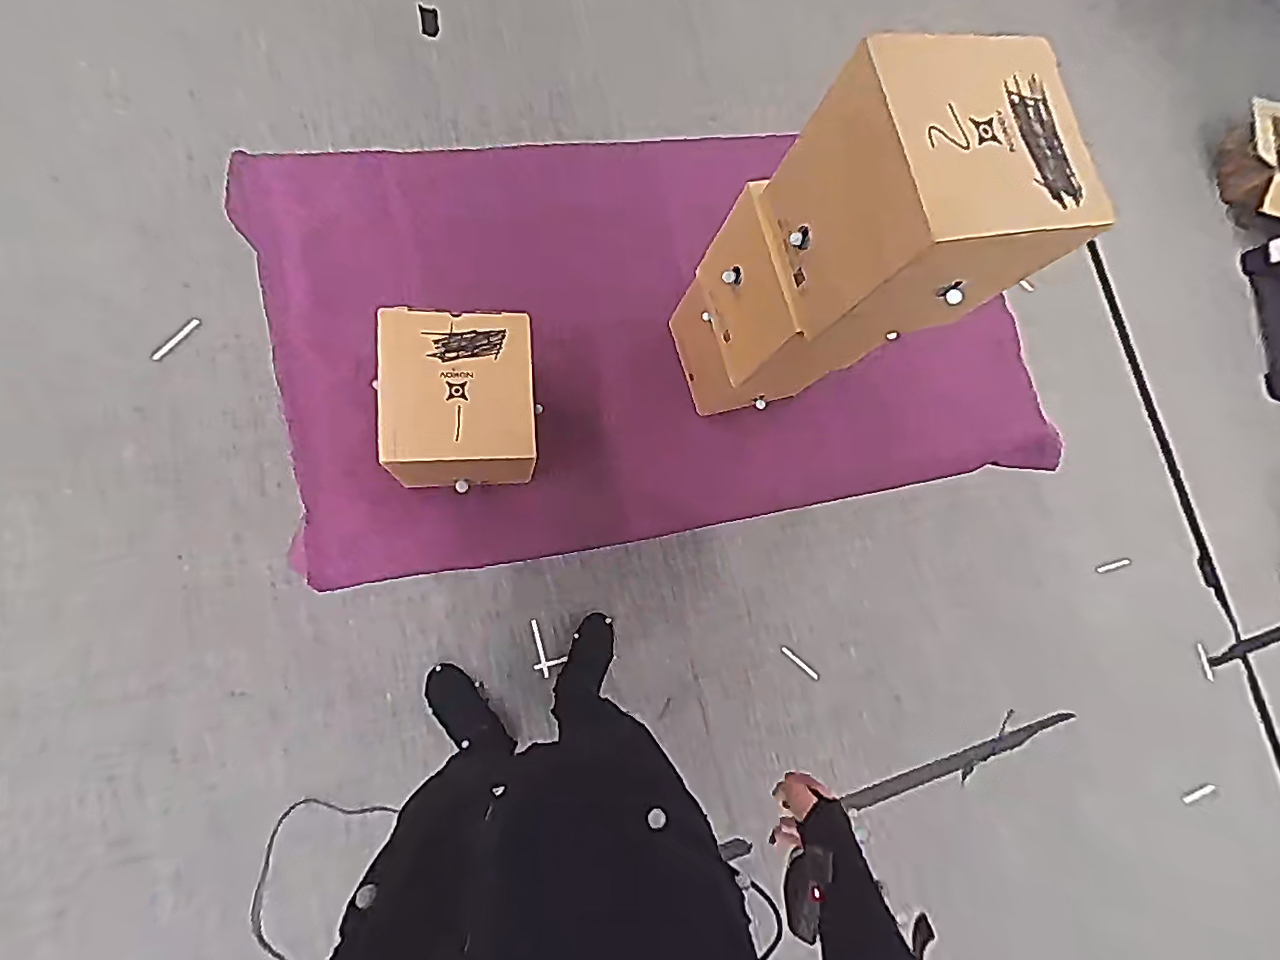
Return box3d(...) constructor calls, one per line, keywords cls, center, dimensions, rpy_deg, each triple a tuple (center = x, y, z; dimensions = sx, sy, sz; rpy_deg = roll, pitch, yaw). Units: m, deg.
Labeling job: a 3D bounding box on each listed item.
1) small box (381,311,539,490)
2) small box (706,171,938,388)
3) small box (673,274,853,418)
box3d(cls="small box", center=(-0.217, -0.088, 0.674), dimensions=(0.168, 0.176, 0.179), rpy_deg=(-2, 81, -14))
box3d(cls="small box", center=(0.191, -0.220, 0.626), dimensions=(0.179, 0.176, 0.168), rpy_deg=(-14, 83, -16))
box3d(cls="small box", center=(0.169, -0.205, 0.788), dimensions=(0.179, 0.176, 0.168), rpy_deg=(-15, 82, -16))
